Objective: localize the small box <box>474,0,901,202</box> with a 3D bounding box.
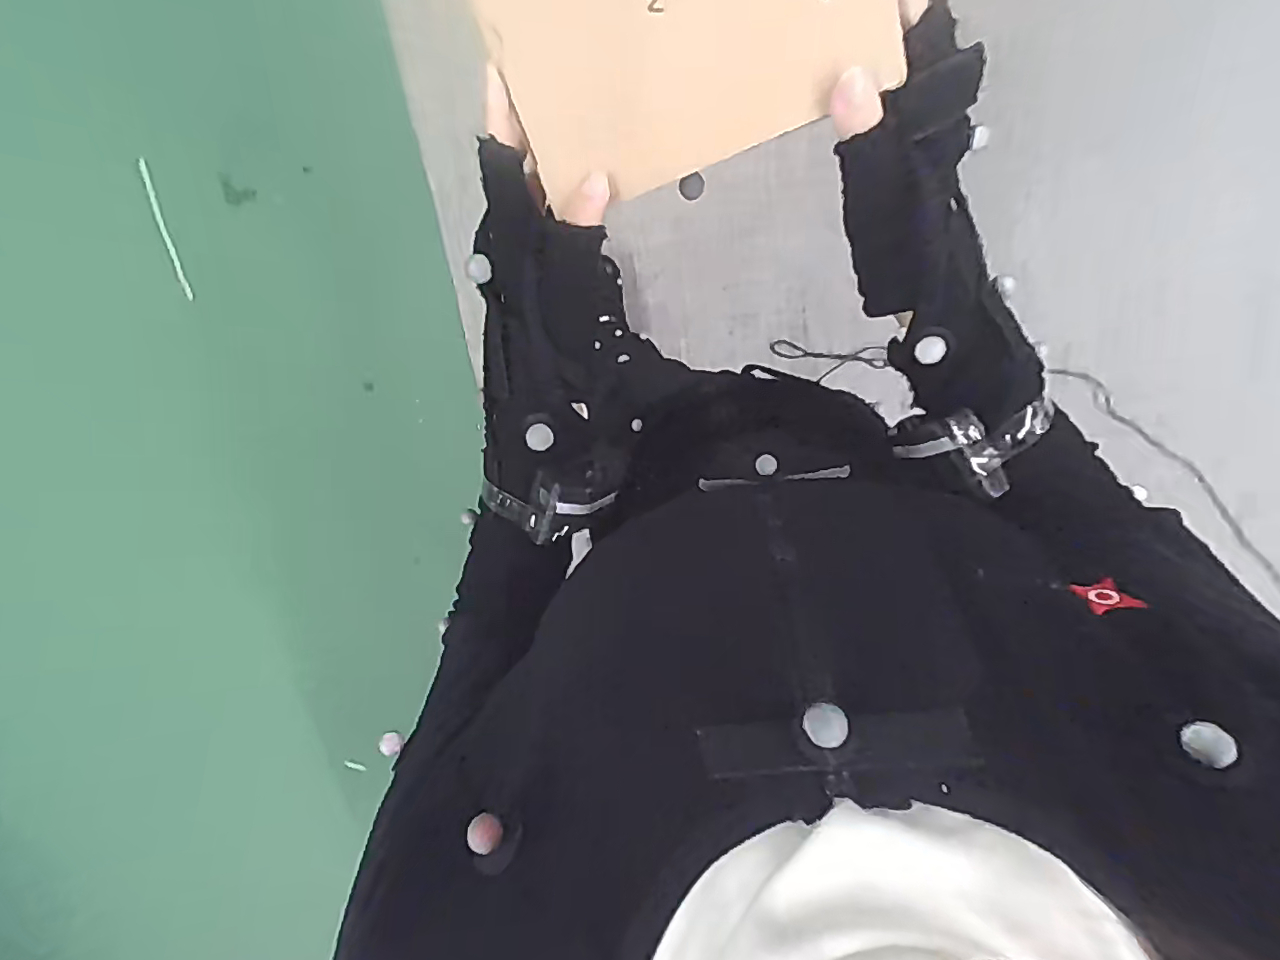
[{"bbox_3d":[0.015,-0.272,0.302,0.179,0.176,0.168,-19,113,14],"label":"small box"}]
